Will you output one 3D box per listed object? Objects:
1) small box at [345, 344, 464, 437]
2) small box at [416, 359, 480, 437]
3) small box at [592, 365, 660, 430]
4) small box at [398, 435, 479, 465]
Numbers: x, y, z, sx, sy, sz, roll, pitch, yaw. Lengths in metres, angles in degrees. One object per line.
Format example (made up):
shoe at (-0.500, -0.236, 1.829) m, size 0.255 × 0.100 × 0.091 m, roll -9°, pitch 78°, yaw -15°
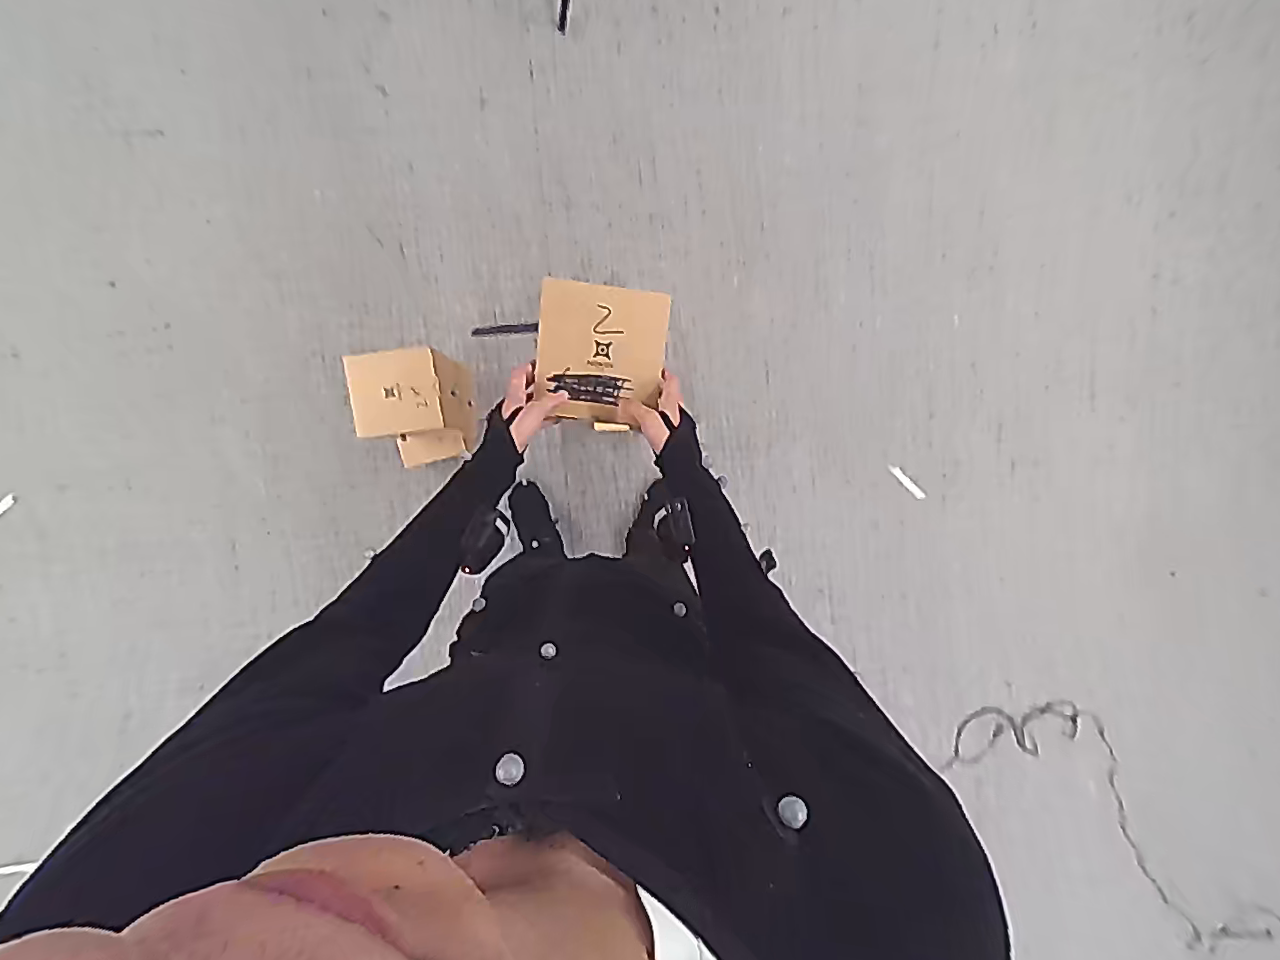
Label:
small box at (-0.491, -0.183, 1.149) m, size 0.179 × 0.176 × 0.168 m, roll -8°, pitch 95°, yaw -4°
small box at (-0.491, -0.196, 1.313) m, size 0.168 × 0.176 × 0.179 m, roll 0°, pitch 94°, yaw -5°
small box at (-0.044, -0.227, 1.523) m, size 0.179 × 0.176 × 0.168 m, roll -4°, pitch 95°, yaw -7°
small box at (-0.556, -0.146, 1.475) m, size 0.168 × 0.176 × 0.179 m, roll -15°, pitch 96°, yaw -4°
